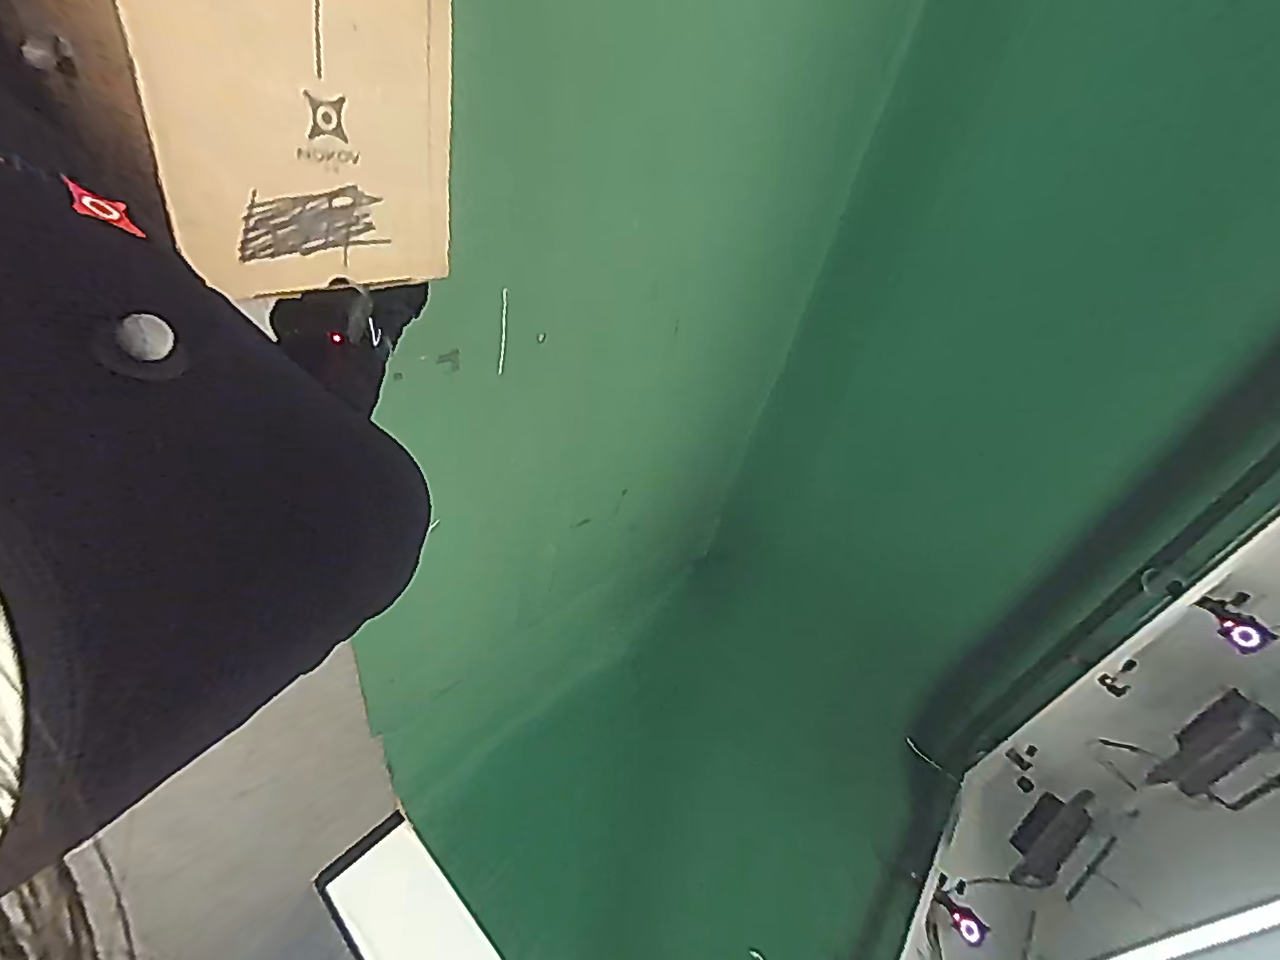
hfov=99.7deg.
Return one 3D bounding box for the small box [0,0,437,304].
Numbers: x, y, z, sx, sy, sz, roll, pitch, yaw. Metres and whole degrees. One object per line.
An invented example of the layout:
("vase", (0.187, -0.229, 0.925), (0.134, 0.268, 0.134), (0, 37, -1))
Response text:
("small box", (-0.251, -0.230, 0.334), (0.168, 0.176, 0.179), (-35, 147, -49))
